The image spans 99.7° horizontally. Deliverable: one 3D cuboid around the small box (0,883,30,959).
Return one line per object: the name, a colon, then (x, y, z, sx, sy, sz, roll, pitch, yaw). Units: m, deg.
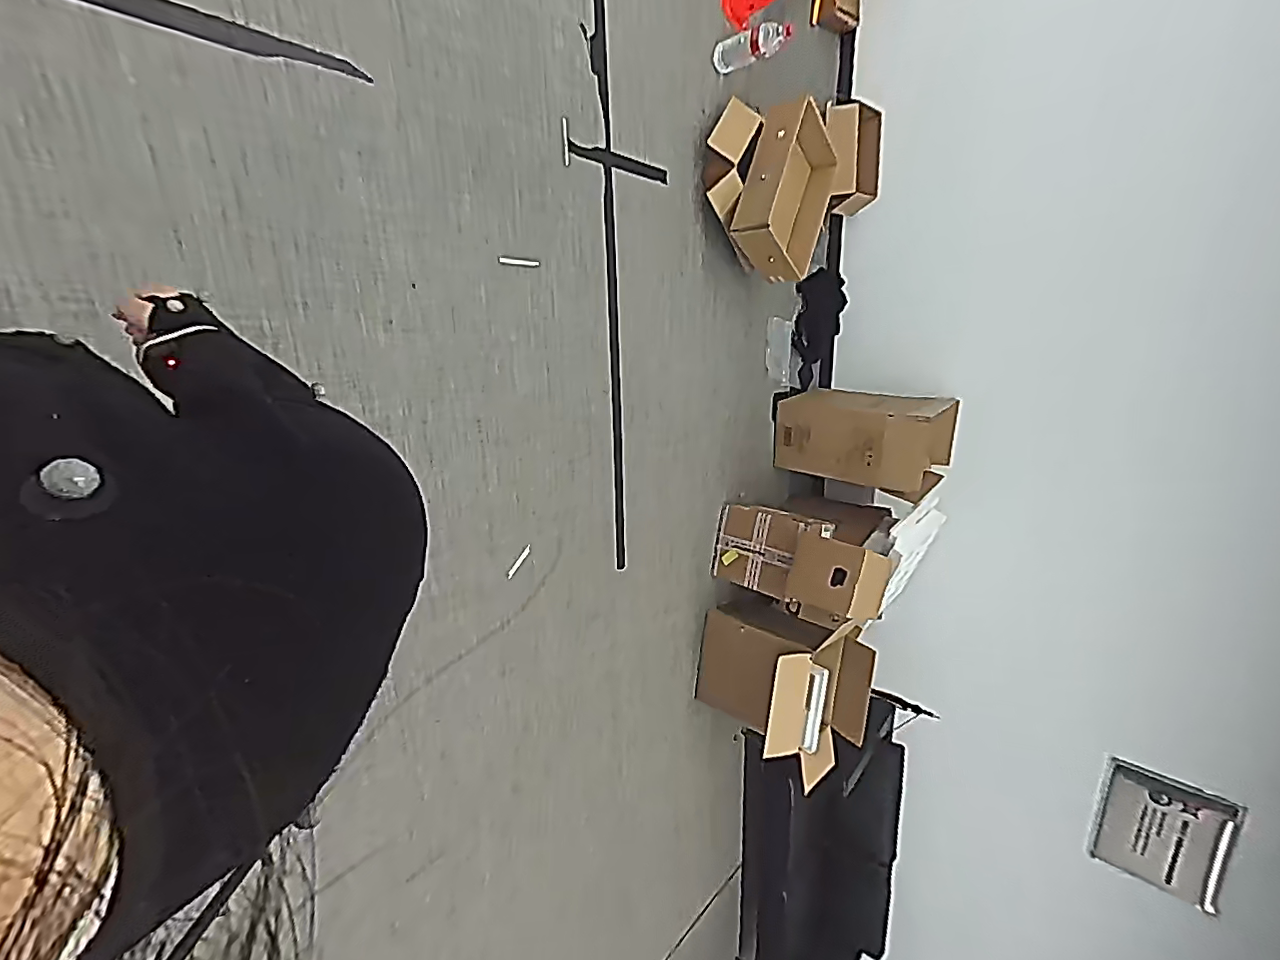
small box: (-1.270, 0.895, 0.992, 0.168, 0.176, 0.179, -20, 114, -45)
